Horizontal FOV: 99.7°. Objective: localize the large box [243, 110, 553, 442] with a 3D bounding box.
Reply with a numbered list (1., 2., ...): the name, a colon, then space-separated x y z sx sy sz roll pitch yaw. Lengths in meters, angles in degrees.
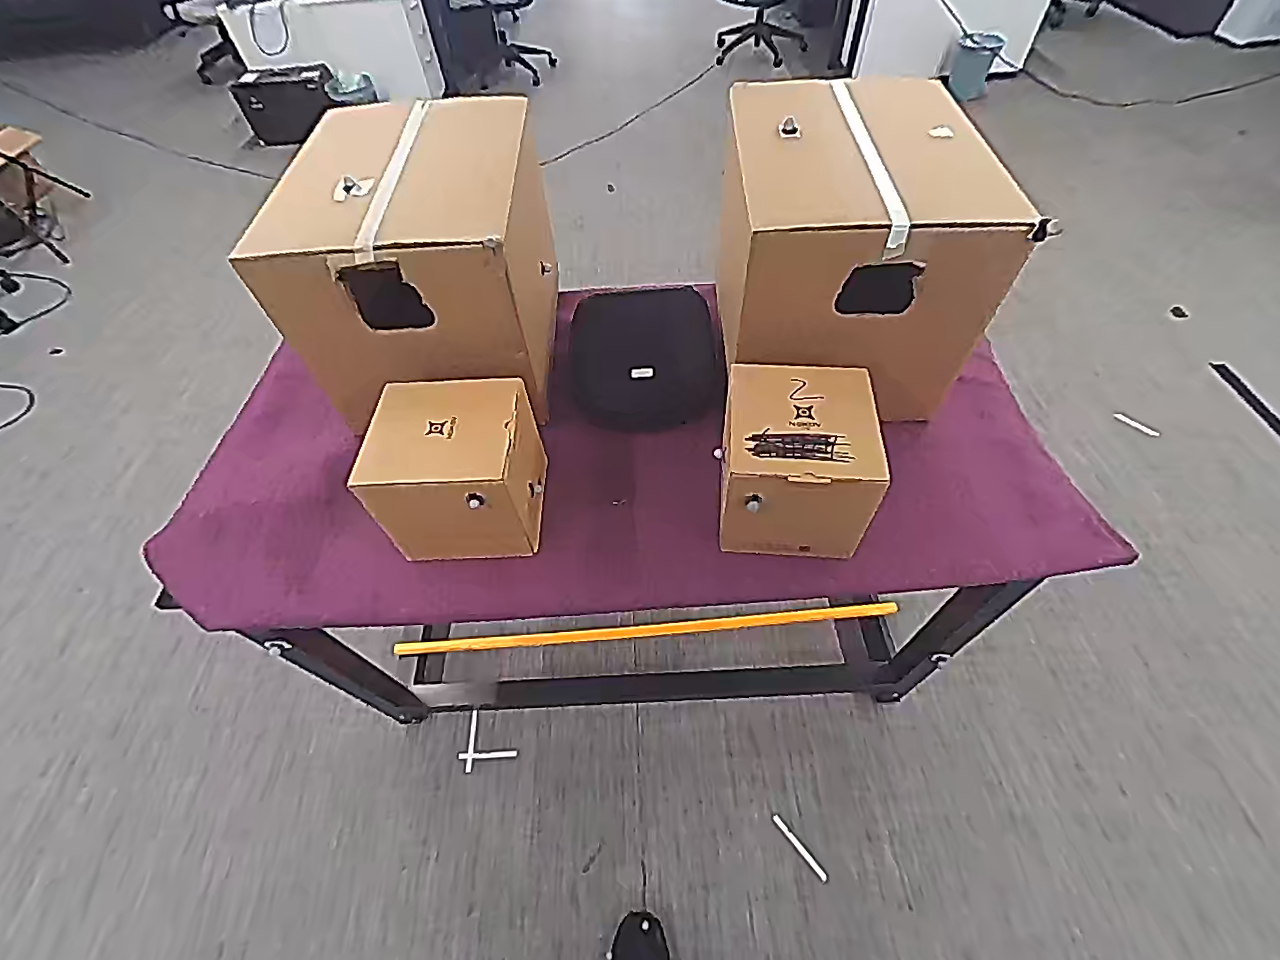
1. large box: -0.312 -0.317 0.848 0.320 0.320 0.408 -5 56 0
